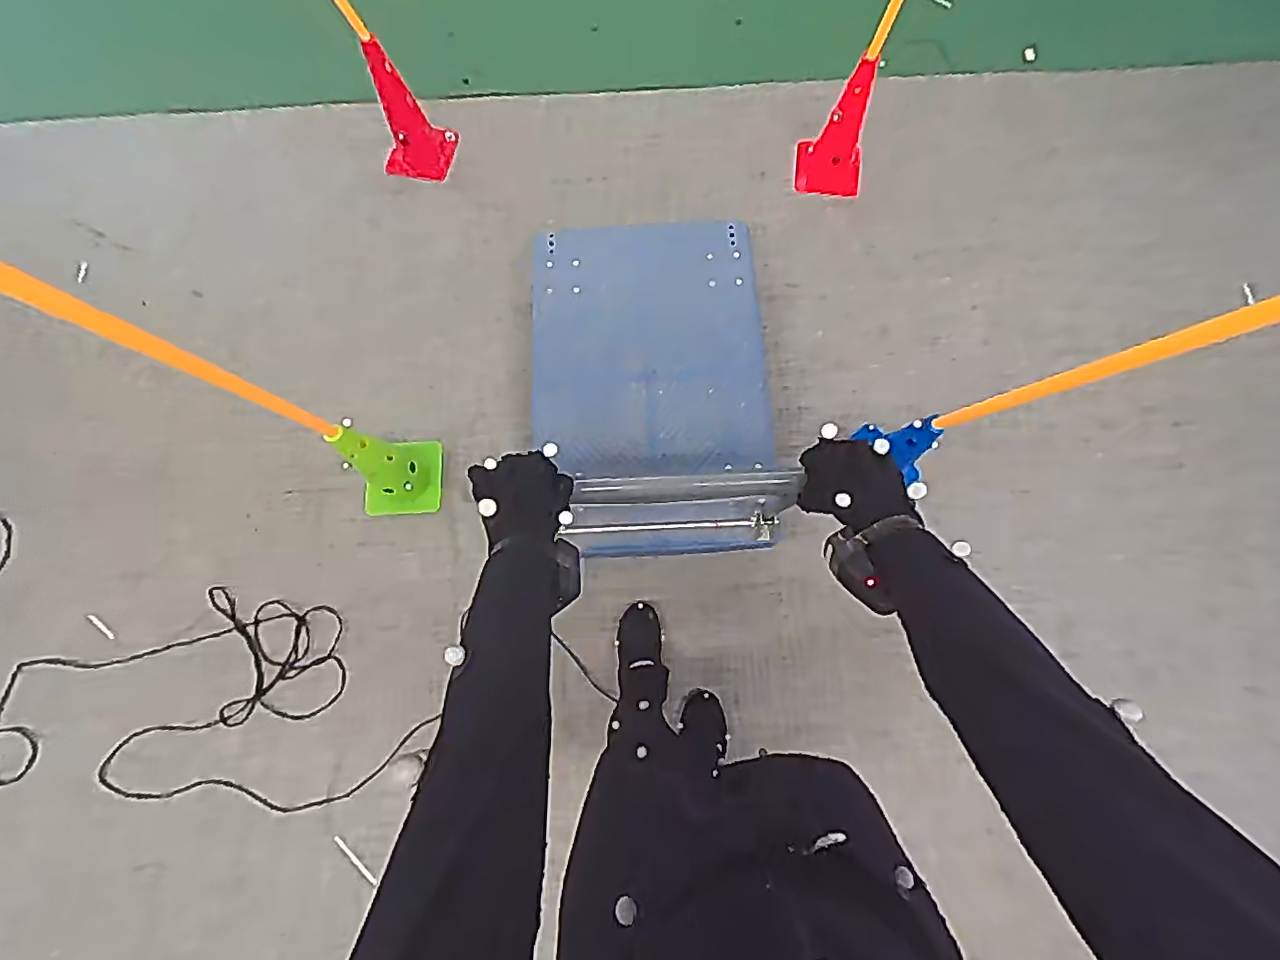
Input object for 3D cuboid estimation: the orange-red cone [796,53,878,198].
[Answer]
[{"bbox_3d":[0.590,-1.018,1.534,0.198,0.360,0.199,9,76,4],"label":"orange-red cone"}]
